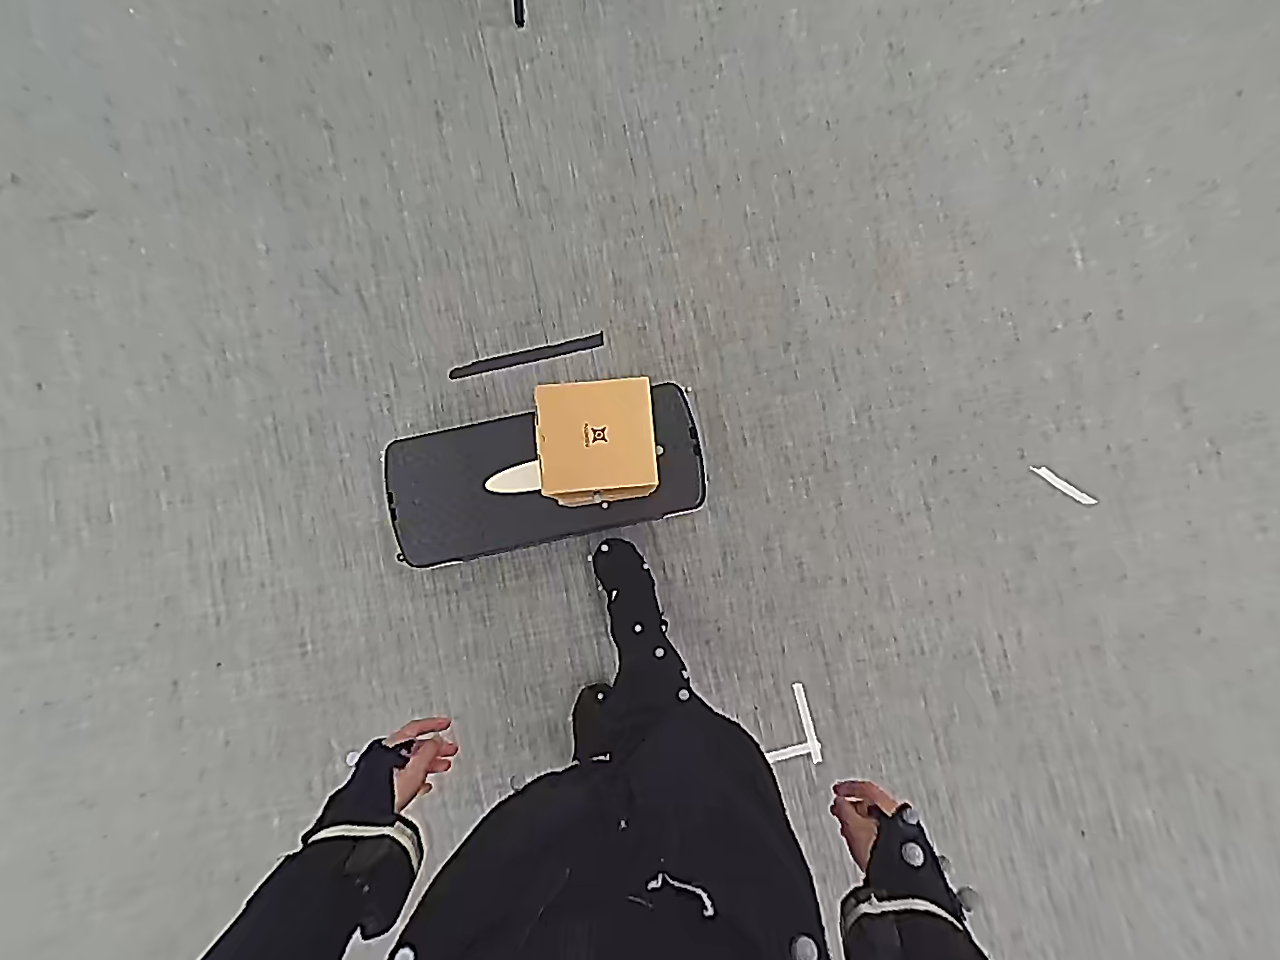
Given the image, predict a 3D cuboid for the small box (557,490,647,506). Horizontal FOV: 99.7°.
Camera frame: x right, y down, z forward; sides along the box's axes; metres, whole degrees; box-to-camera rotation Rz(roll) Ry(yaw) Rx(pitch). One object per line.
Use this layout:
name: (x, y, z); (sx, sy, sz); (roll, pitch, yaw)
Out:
small box: (-0.077, -0.046, 1.044); (0.168, 0.176, 0.179); (-8, 85, -1)

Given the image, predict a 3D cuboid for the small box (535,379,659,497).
small box: (-0.066, -0.061, 0.882); (0.179, 0.176, 0.168); (-5, 86, 0)
